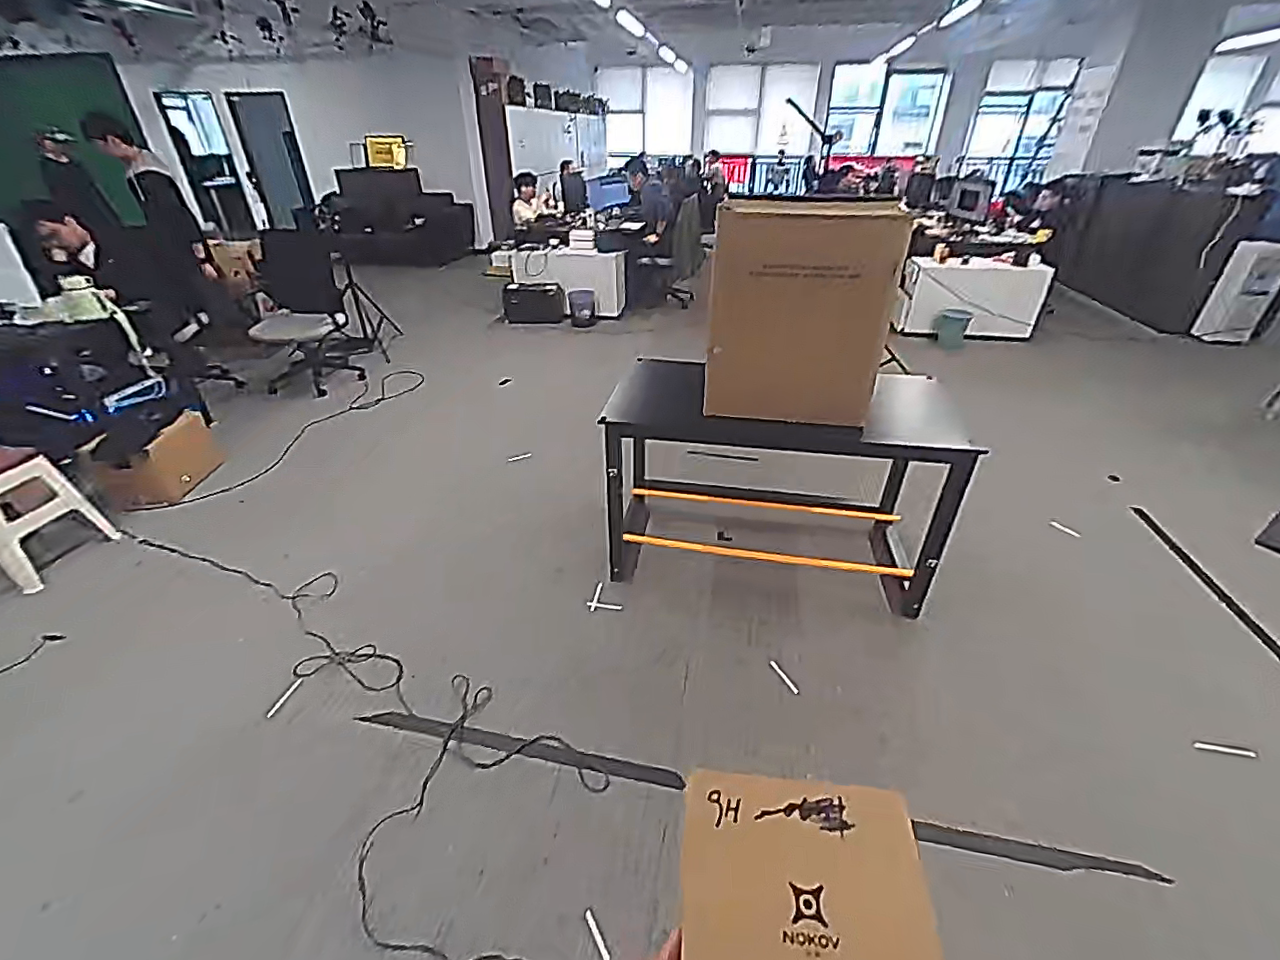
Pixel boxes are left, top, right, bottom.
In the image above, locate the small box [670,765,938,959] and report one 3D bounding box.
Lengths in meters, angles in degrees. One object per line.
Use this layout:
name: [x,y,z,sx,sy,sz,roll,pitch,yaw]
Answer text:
small box: [0.109,0.347,0.408,0.168,0.176,0.179,4,42,5]
